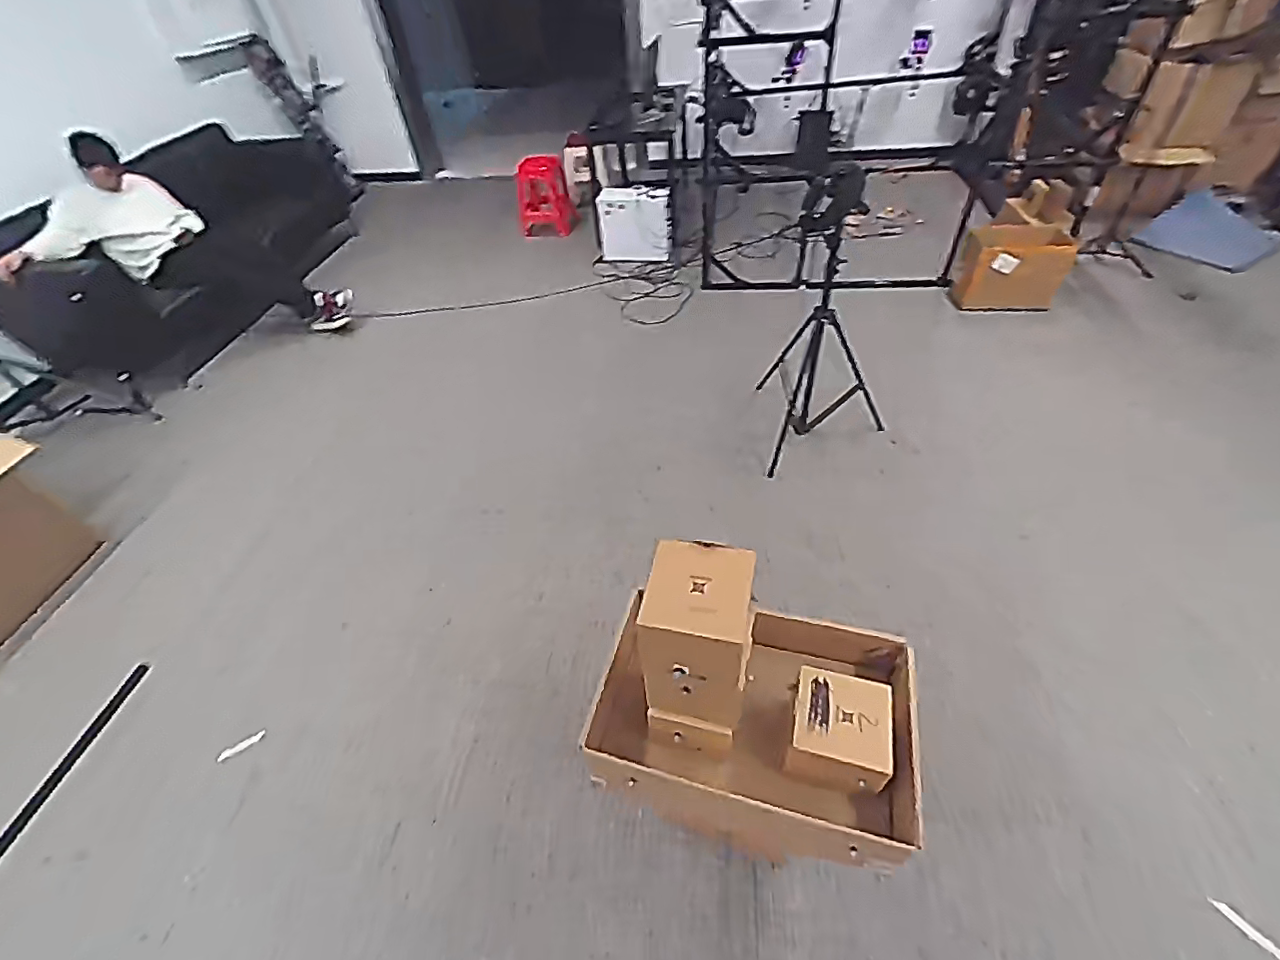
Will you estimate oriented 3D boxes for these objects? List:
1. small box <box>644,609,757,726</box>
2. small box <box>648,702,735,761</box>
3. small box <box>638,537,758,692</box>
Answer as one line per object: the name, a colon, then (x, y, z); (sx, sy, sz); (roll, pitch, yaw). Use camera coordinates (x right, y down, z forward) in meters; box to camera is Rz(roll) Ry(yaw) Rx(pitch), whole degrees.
small box: (0.116, 0.340, 1.023); (0.179, 0.176, 0.168); (10, 47, 14)
small box: (0.121, 0.460, 1.135); (0.168, 0.176, 0.179); (9, 46, 13)
small box: (0.100, 0.224, 0.908); (0.168, 0.176, 0.179); (7, 46, 13)
